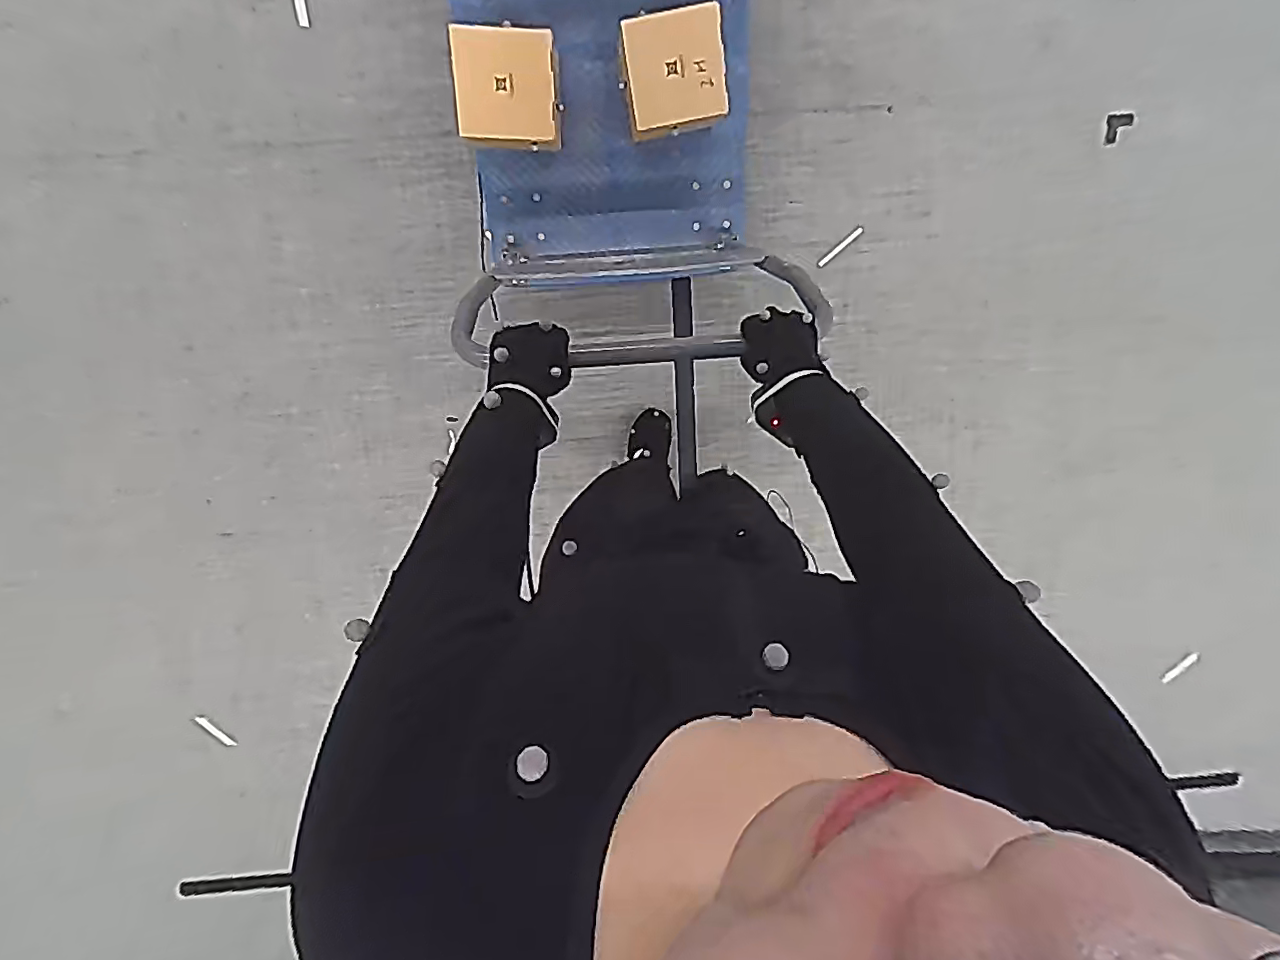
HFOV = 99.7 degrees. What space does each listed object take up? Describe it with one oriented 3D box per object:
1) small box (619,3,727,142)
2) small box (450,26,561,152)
[{"bbox_3d":[0.060,-0.766,1.035,0.179,0.176,0.168,-10,116,2],"label":"small box"},{"bbox_3d":[-0.247,-0.733,1.032,0.179,0.176,0.168,-1,115,-4],"label":"small box"}]
